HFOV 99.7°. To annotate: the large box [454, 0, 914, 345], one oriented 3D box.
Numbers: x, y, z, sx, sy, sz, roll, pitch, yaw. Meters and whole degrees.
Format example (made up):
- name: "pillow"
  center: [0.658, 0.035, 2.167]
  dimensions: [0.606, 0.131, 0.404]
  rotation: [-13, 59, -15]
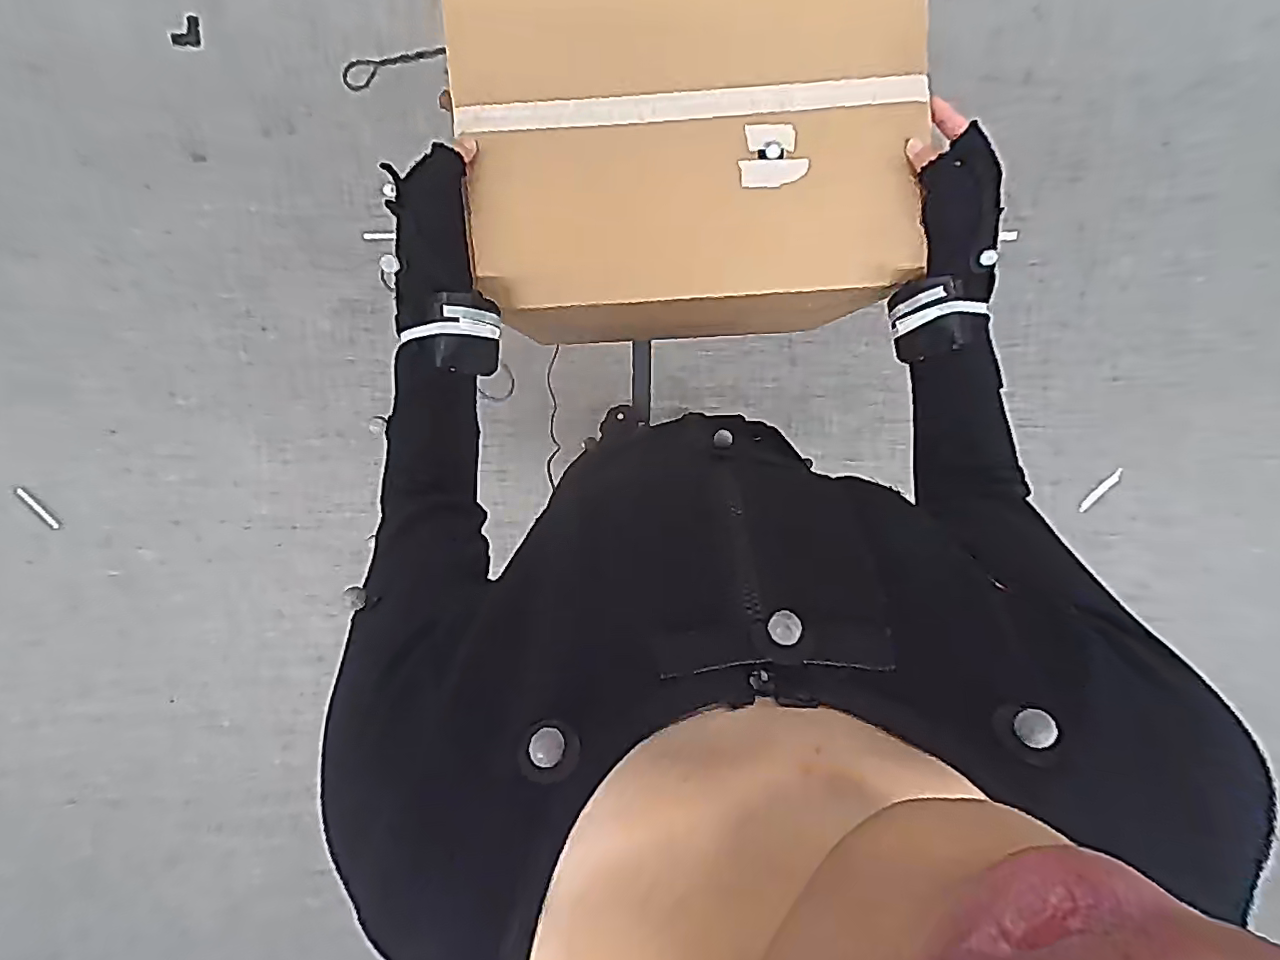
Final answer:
- name: "large box"
  center: [0.042, -0.344, 0.628]
  dimensions: [0.408, 0.320, 0.320]
  rotation: [-4, 99, 0]
